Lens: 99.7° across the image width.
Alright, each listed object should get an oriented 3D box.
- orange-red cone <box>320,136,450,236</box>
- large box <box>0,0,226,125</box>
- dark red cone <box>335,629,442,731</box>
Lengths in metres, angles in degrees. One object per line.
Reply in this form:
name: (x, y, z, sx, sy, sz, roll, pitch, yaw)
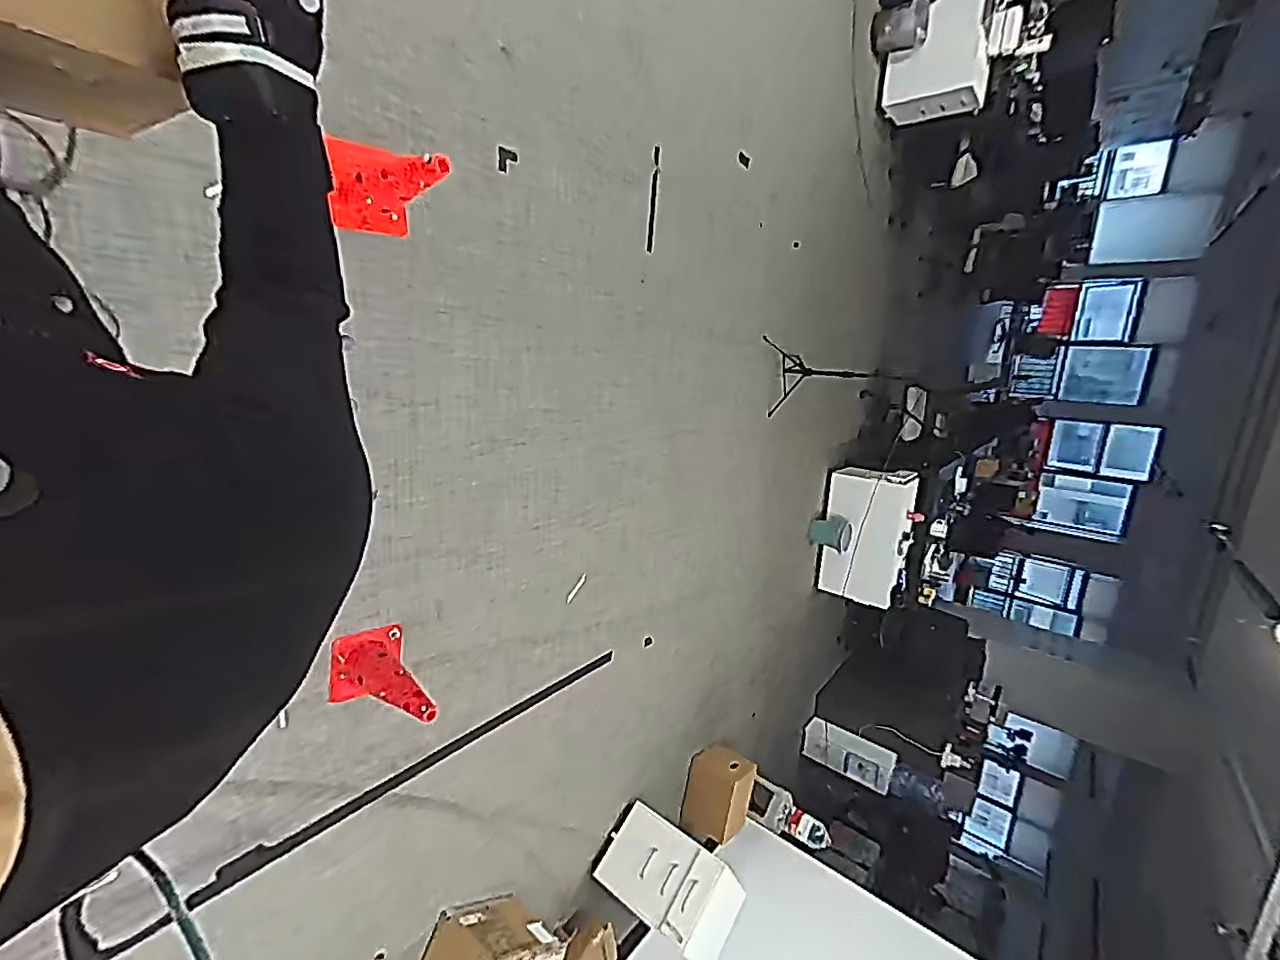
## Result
orange-red cone: (-0.560, -0.707, 1.257, 0.198, 0.360, 0.199, -16, 111, -50)
large box: (-0.521, -0.440, 0.279, 0.408, 0.320, 0.320, -13, 116, -51)
dark red cone: (-0.656, 0.572, 1.471, 0.201, 0.394, 0.202, -3, 102, -50)
